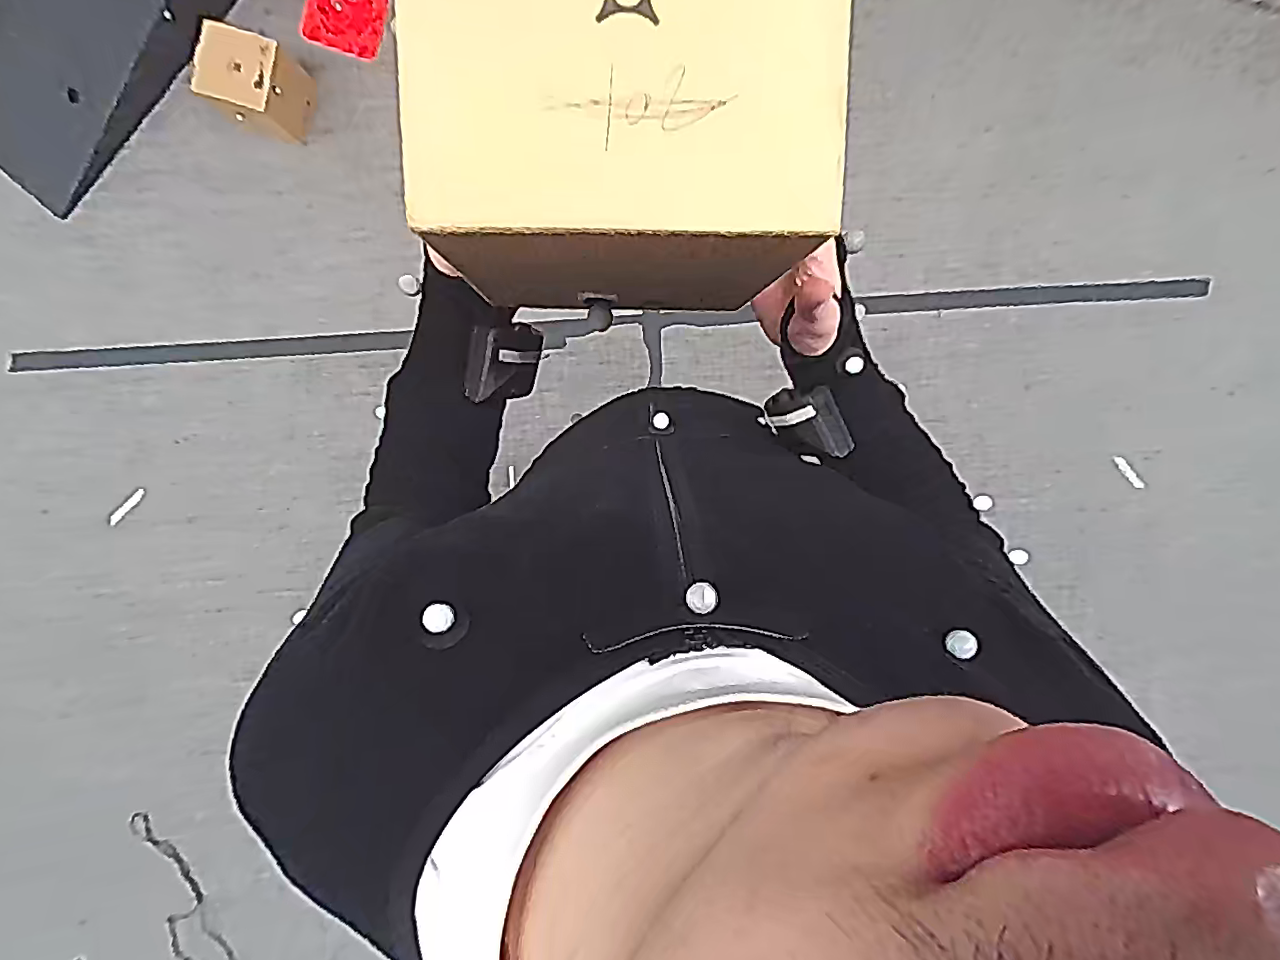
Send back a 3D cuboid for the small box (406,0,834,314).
[{"bbox_3d":[-0.011,-0.194,0.285,0.168,0.176,0.179,0,98,-3],"label":"small box"}]
